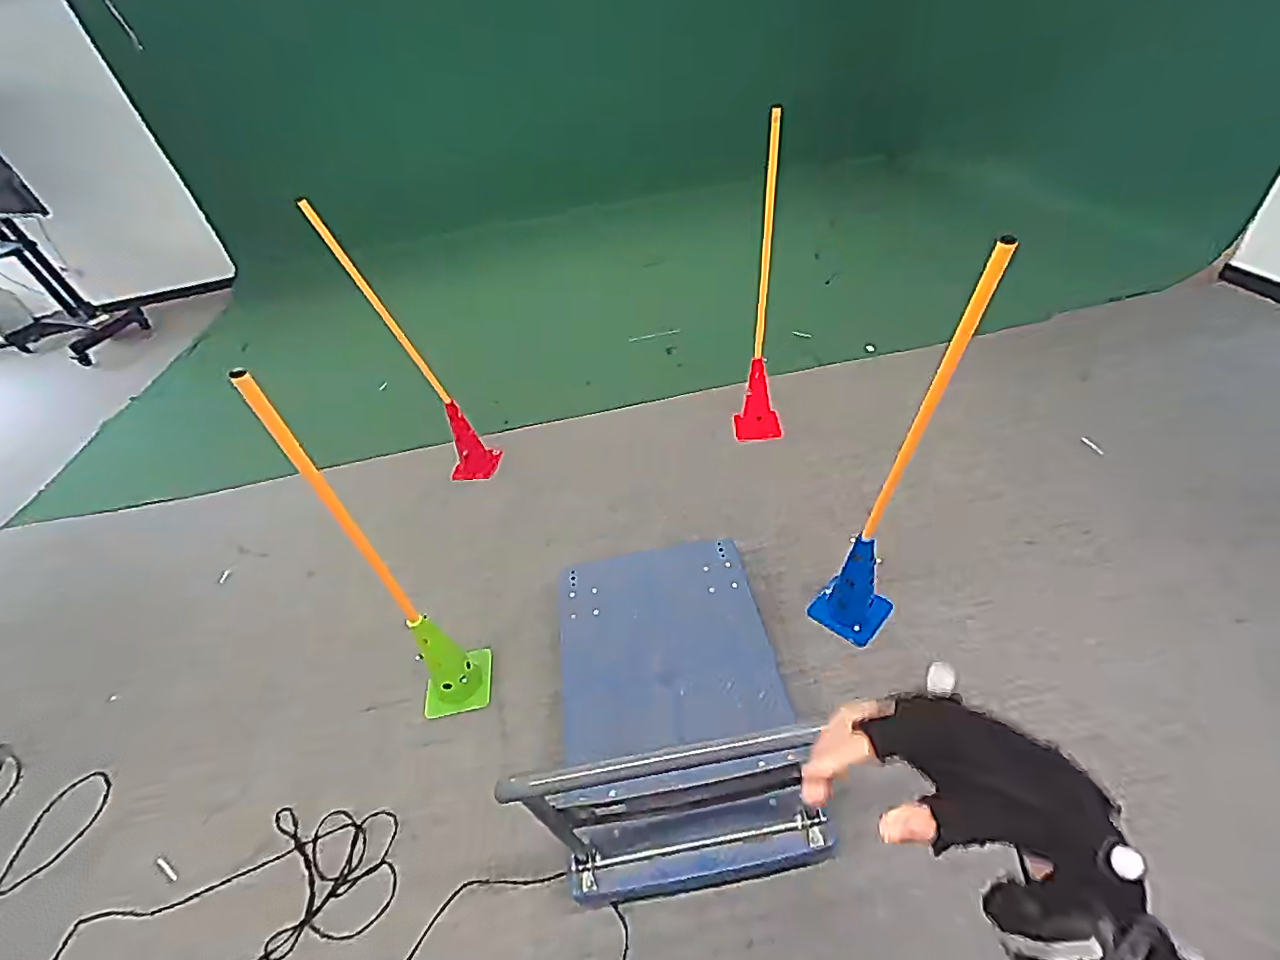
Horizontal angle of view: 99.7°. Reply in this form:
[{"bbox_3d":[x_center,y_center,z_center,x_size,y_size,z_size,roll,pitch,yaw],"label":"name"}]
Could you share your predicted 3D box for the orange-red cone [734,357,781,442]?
[{"bbox_3d":[0.501,-0.362,2.313,0.198,0.360,0.199,-4,43,8],"label":"orange-red cone"}]
